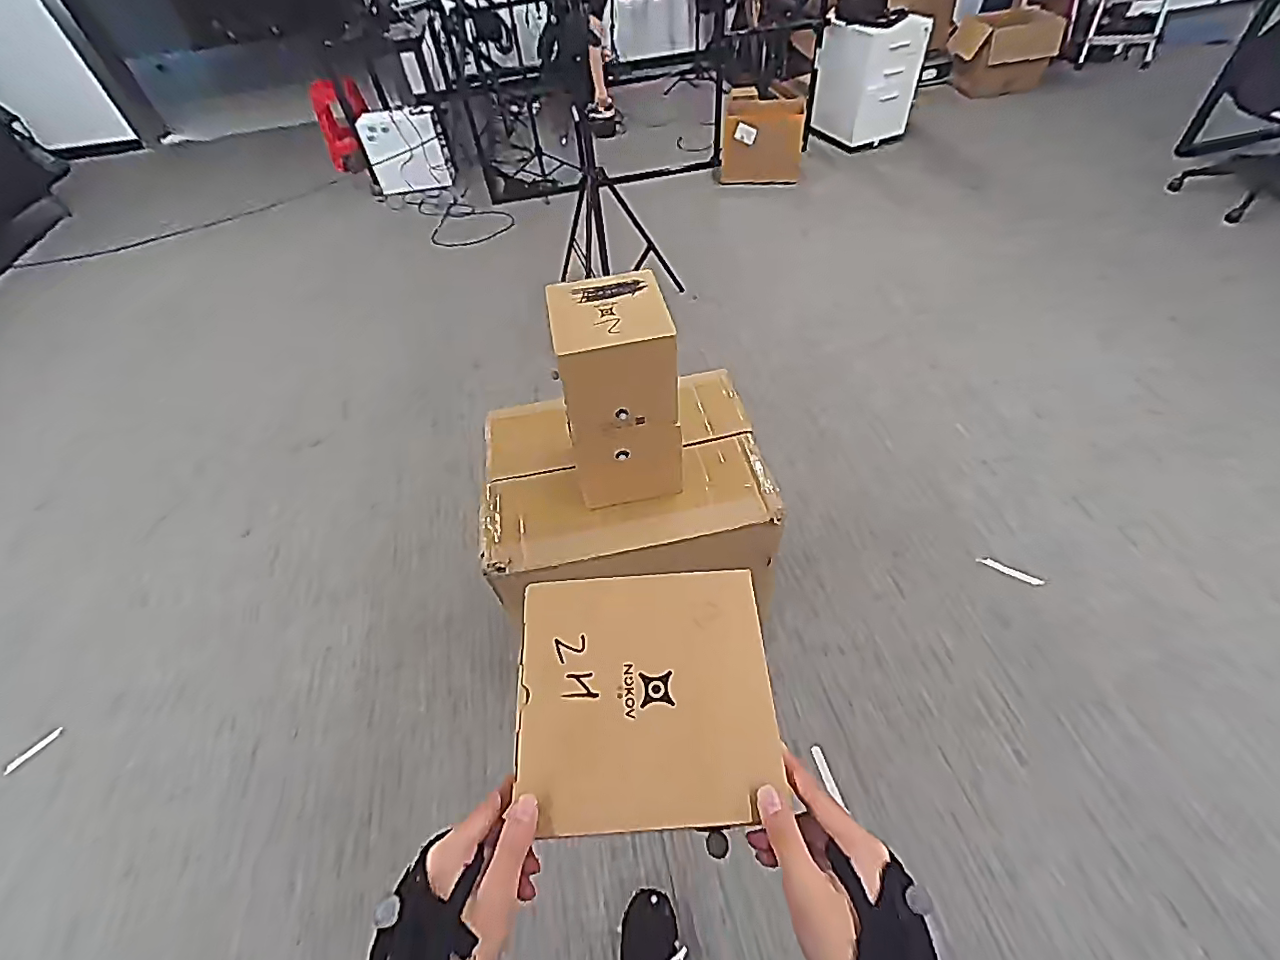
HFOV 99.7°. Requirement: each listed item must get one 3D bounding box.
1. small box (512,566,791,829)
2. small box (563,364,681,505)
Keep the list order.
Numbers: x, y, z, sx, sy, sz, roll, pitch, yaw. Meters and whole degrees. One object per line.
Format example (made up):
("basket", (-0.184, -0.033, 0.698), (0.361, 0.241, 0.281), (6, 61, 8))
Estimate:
("small box", (0.006, 0.181, 0.440), (0.179, 0.176, 0.168), (-4, 57, 0))
("small box", (-0.029, -0.074, 0.948), (0.179, 0.176, 0.168), (-11, 50, -4))
